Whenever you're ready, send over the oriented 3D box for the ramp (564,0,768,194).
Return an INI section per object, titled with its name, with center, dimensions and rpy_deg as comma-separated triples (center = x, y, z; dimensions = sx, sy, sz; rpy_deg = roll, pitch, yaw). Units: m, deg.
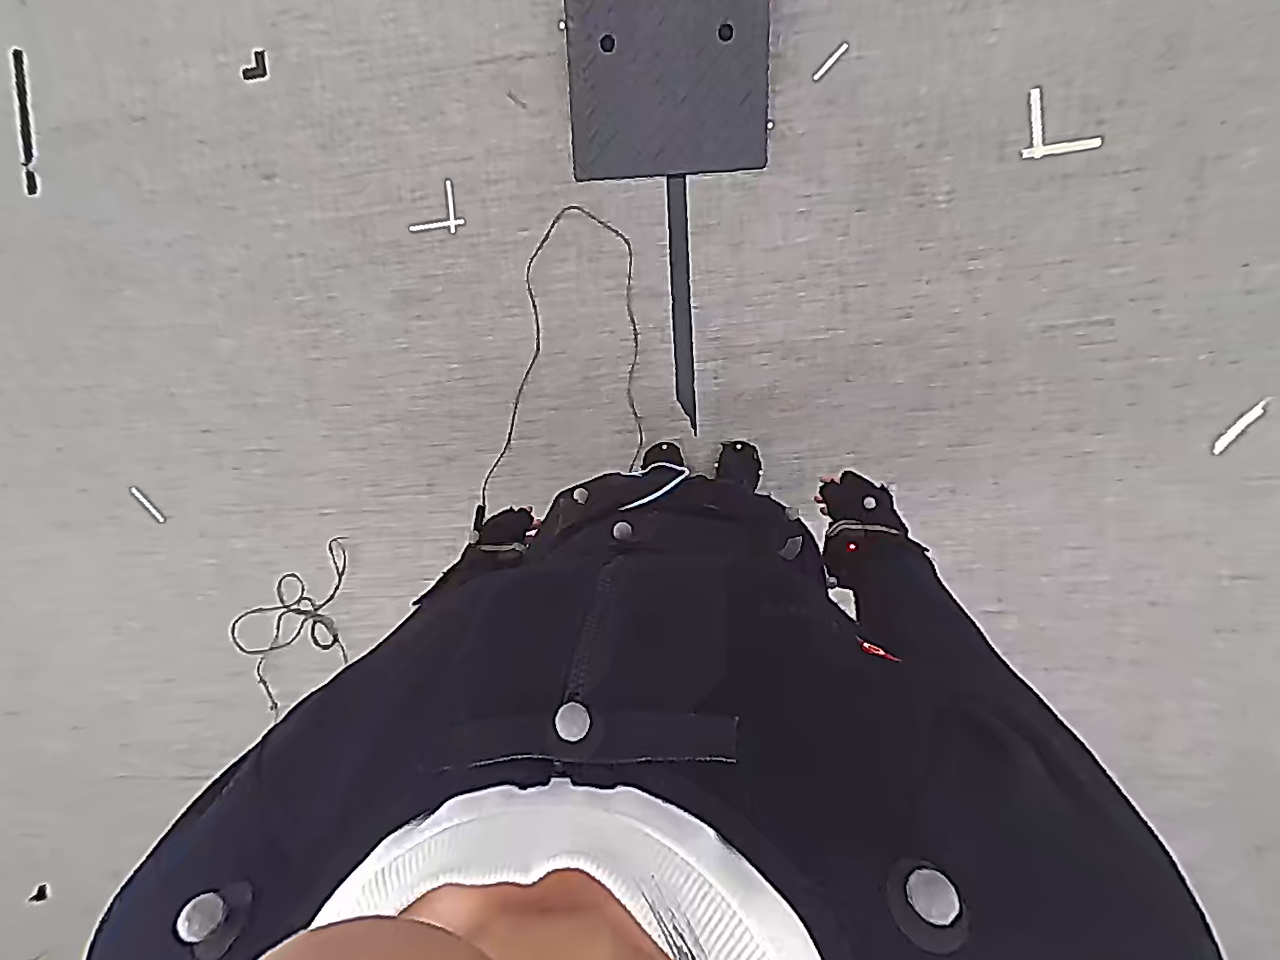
[ramp]
center = 0.054, -1.249, 1.289
dimensions = 0.509, 0.206, 0.991
rpy_deg = -4, 93, 6
